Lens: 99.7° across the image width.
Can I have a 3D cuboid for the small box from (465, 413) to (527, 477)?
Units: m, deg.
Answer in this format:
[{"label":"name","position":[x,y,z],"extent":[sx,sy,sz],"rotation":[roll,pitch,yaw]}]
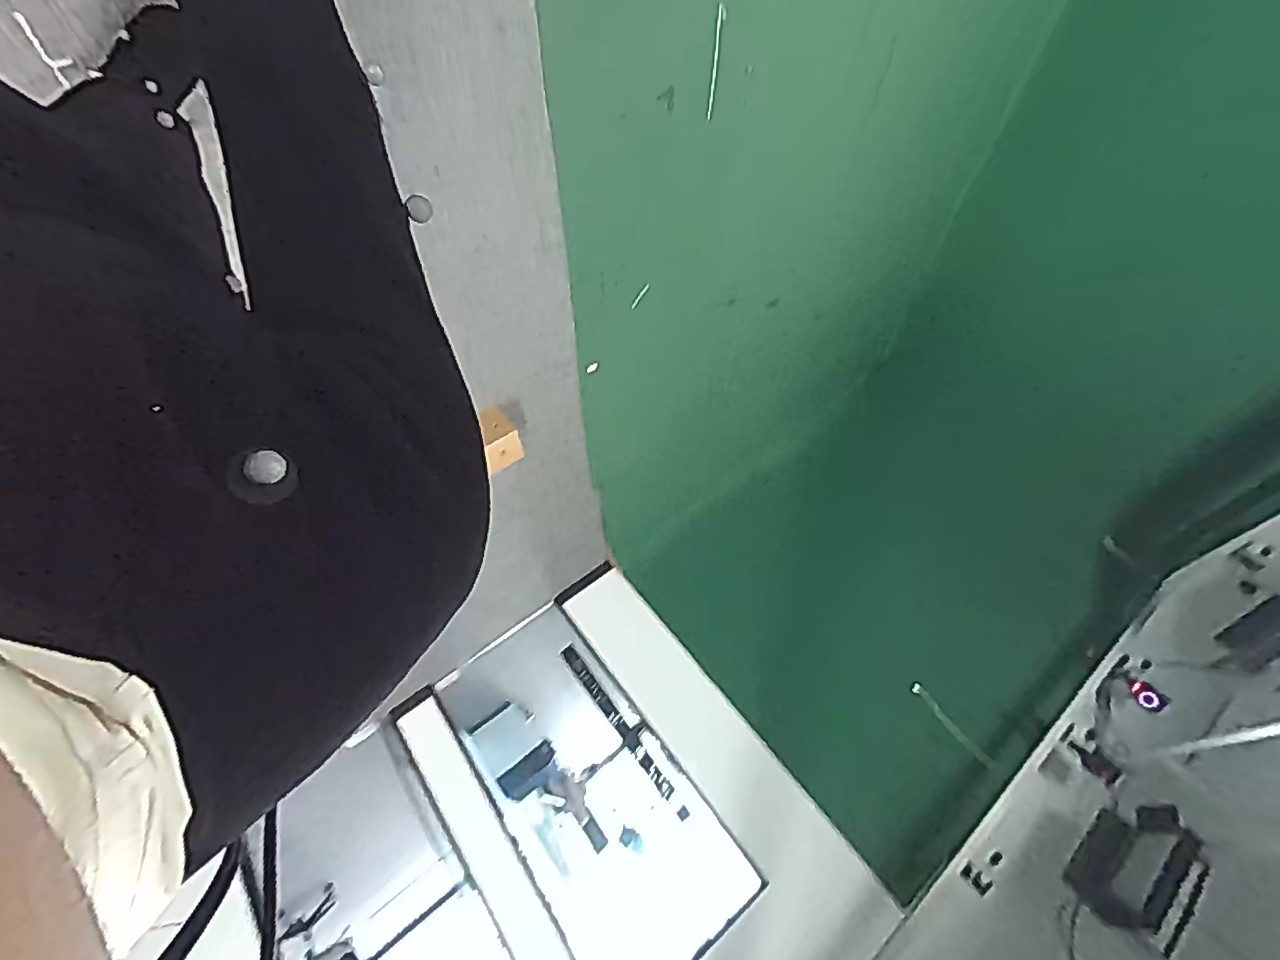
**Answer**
[{"label":"small box","position":[-0.585,-0.150,2.197],"extent":[0.168,0.176,0.179],"rotation":[-34,152,-20]}]
